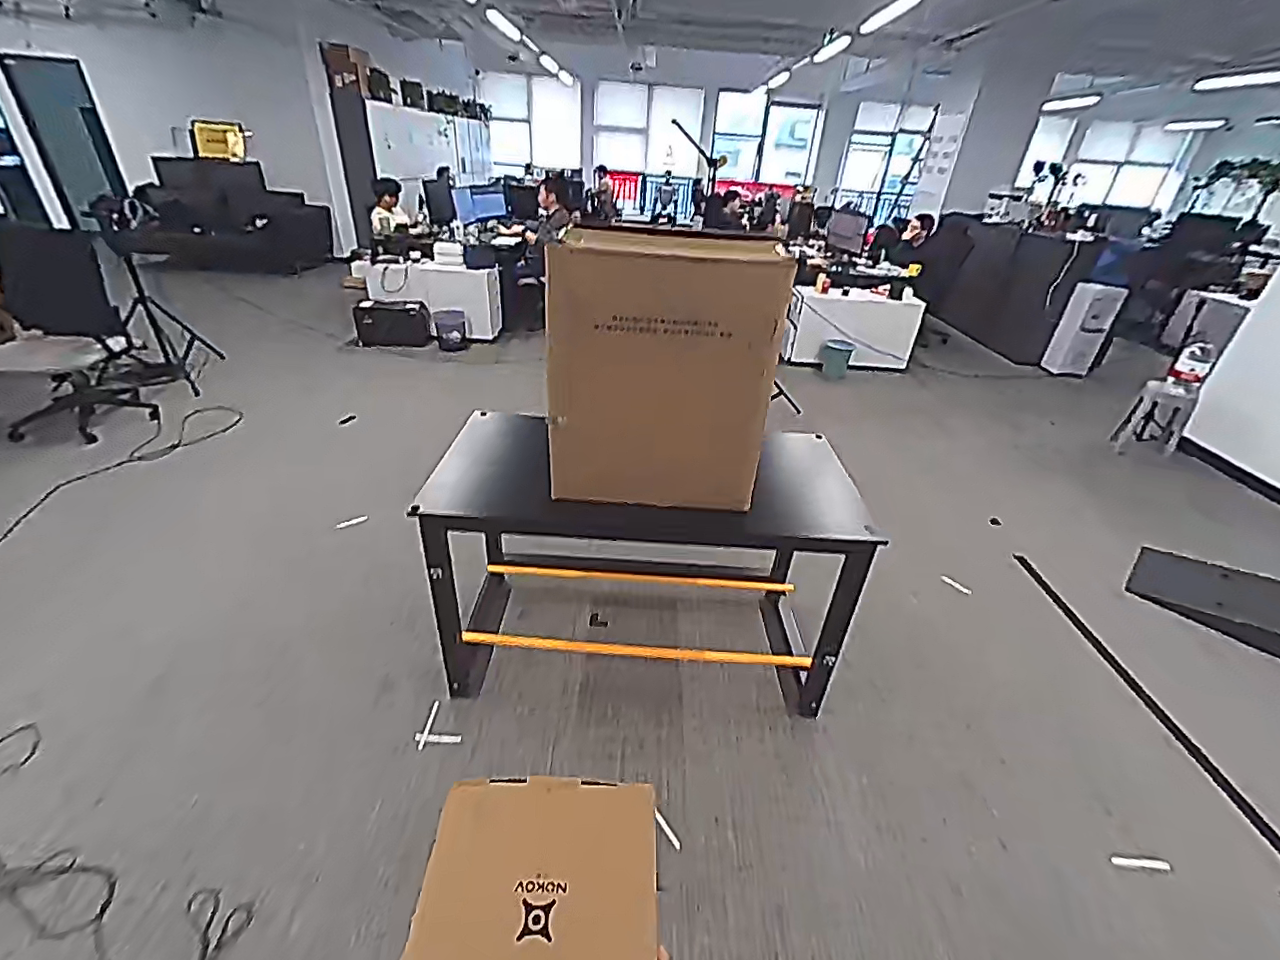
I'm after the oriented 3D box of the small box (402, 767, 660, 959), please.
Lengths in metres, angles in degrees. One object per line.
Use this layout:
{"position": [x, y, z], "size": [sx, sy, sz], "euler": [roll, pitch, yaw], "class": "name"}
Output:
{"position": [-0.073, 0.352, 0.416], "size": [0.168, 0.176, 0.179], "euler": [2, 36, -1], "class": "small box"}
